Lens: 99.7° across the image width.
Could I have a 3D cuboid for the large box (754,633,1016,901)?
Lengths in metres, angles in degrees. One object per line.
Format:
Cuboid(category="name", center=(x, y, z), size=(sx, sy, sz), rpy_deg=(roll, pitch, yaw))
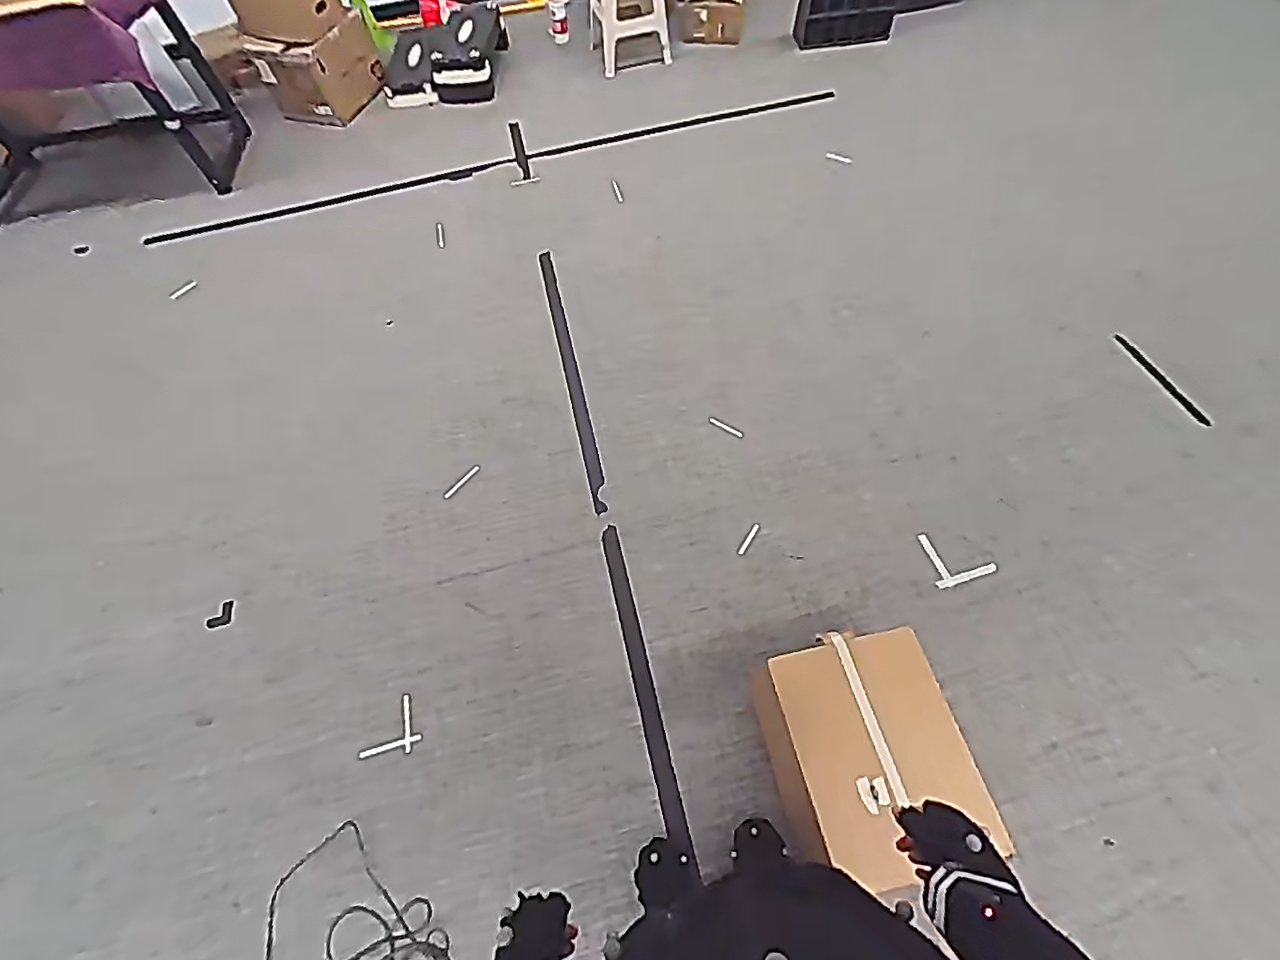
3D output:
Cuboid(category="large box", center=(0.469, 0.588, 1.151), size=(0.320, 0.320, 0.408), rpy_deg=(-12, 61, -3))
